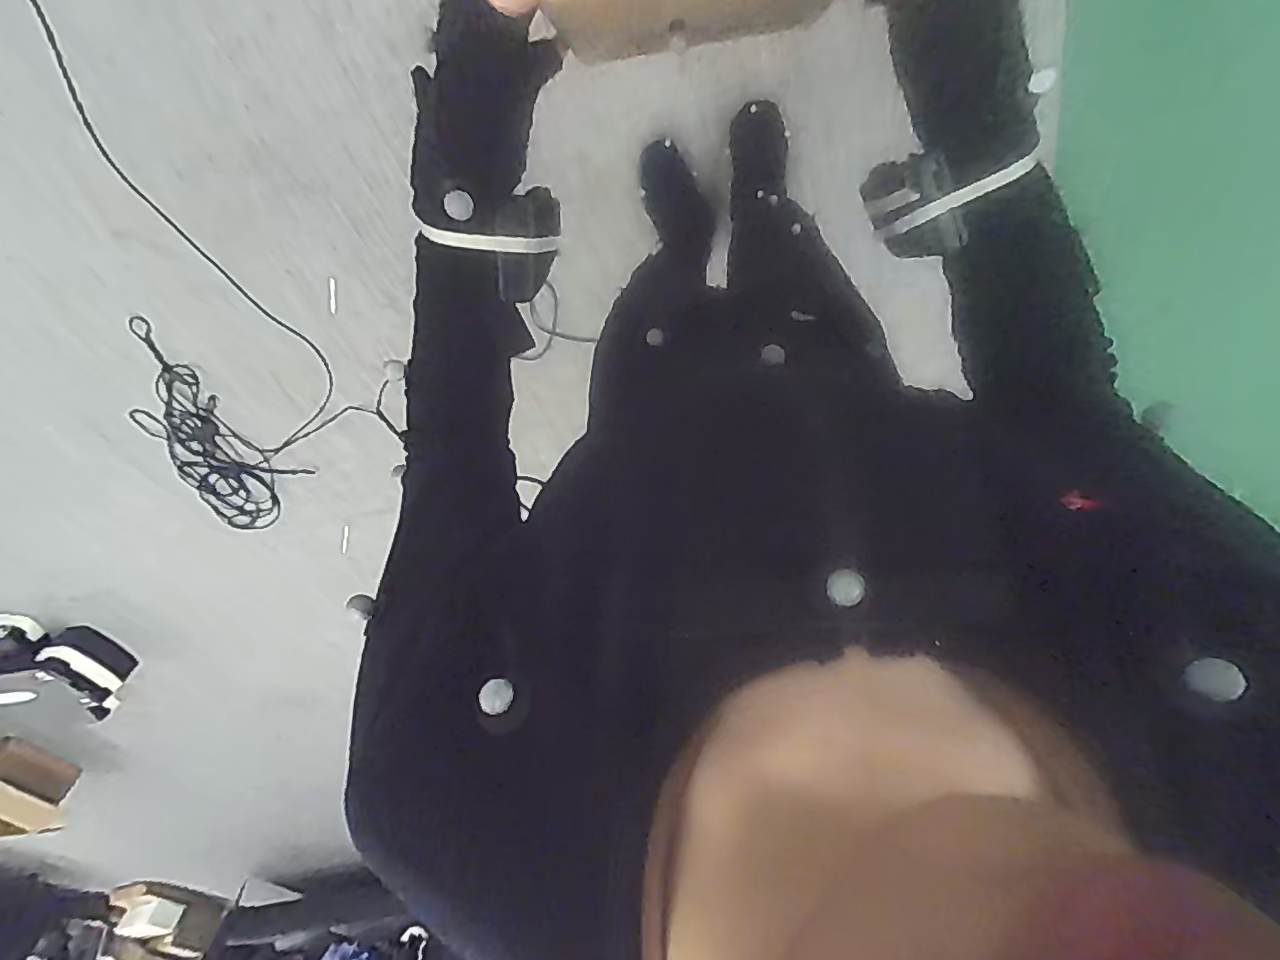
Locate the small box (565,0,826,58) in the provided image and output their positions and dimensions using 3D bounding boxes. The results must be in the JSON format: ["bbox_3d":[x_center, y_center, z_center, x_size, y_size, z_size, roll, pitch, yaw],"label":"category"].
[{"bbox_3d":[0.026,-0.342,0.264,0.168,0.176,0.179,-6,119,6],"label":"small box"}]
